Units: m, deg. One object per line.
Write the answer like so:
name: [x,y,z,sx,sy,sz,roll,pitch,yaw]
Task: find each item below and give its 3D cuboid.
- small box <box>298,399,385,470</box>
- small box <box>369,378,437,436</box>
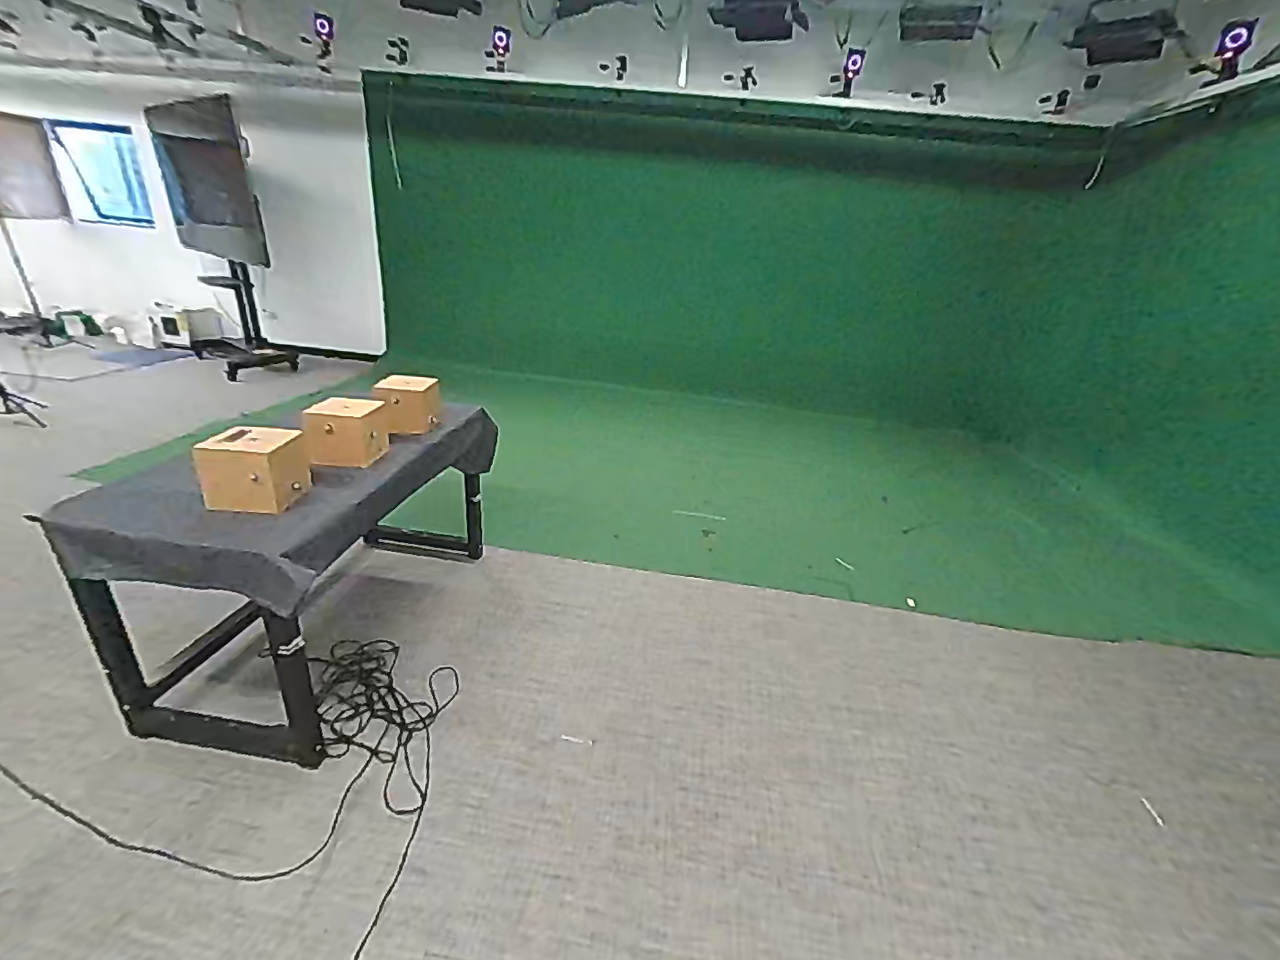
small box: [-0.914,-0.141,1.675,0.179,0.176,0.168,5,24,0]
small box: [-0.858,-0.266,1.971,0.179,0.176,0.168,5,25,-2]
